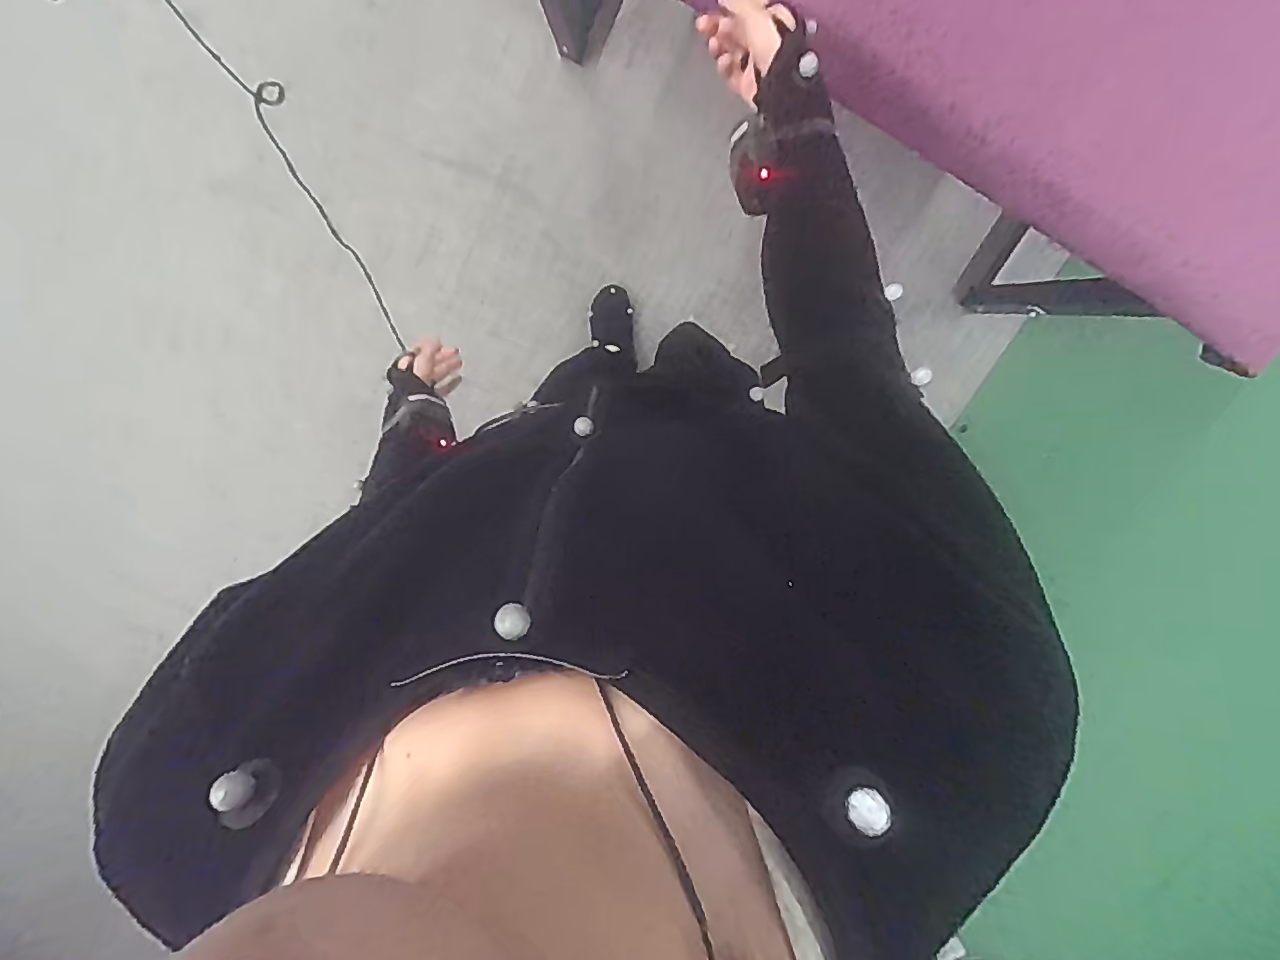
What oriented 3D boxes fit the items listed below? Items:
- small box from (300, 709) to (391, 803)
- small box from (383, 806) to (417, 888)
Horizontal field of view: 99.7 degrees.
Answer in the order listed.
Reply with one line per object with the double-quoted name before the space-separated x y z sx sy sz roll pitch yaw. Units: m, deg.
"small box" -0.929 0.872 1.724 0.168 0.176 0.179 33 106 -8
"small box" -0.749 1.253 1.845 0.179 0.176 0.168 13 107 -1
